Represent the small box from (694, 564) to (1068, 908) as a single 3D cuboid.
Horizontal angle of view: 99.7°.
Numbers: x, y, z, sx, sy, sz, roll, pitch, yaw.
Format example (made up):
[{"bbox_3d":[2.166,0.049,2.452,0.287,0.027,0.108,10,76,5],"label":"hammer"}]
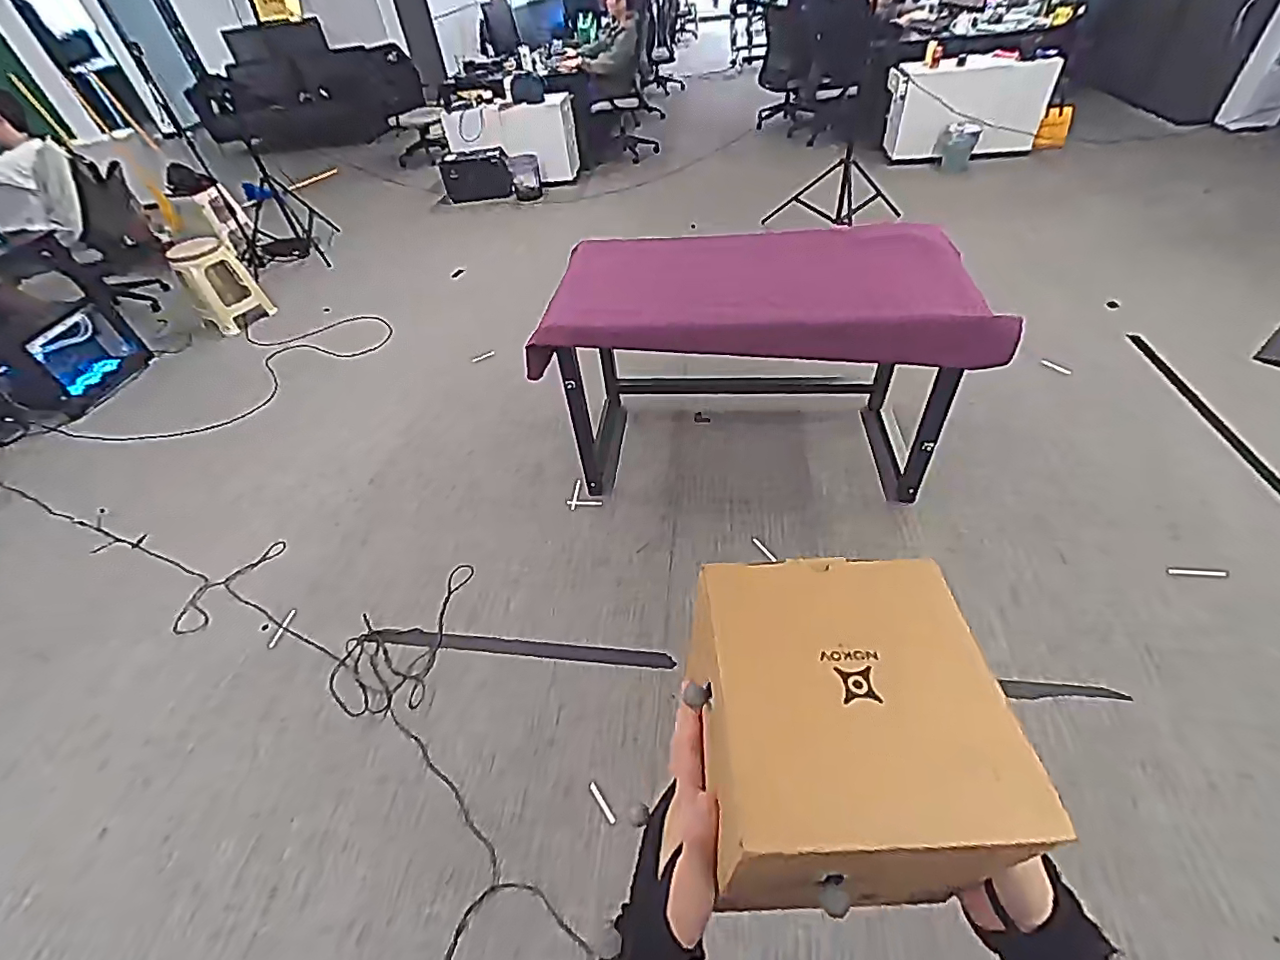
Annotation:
[{"bbox_3d":[0.131,0.181,0.381,0.168,0.176,0.179,-1,43,-2],"label":"small box"}]
